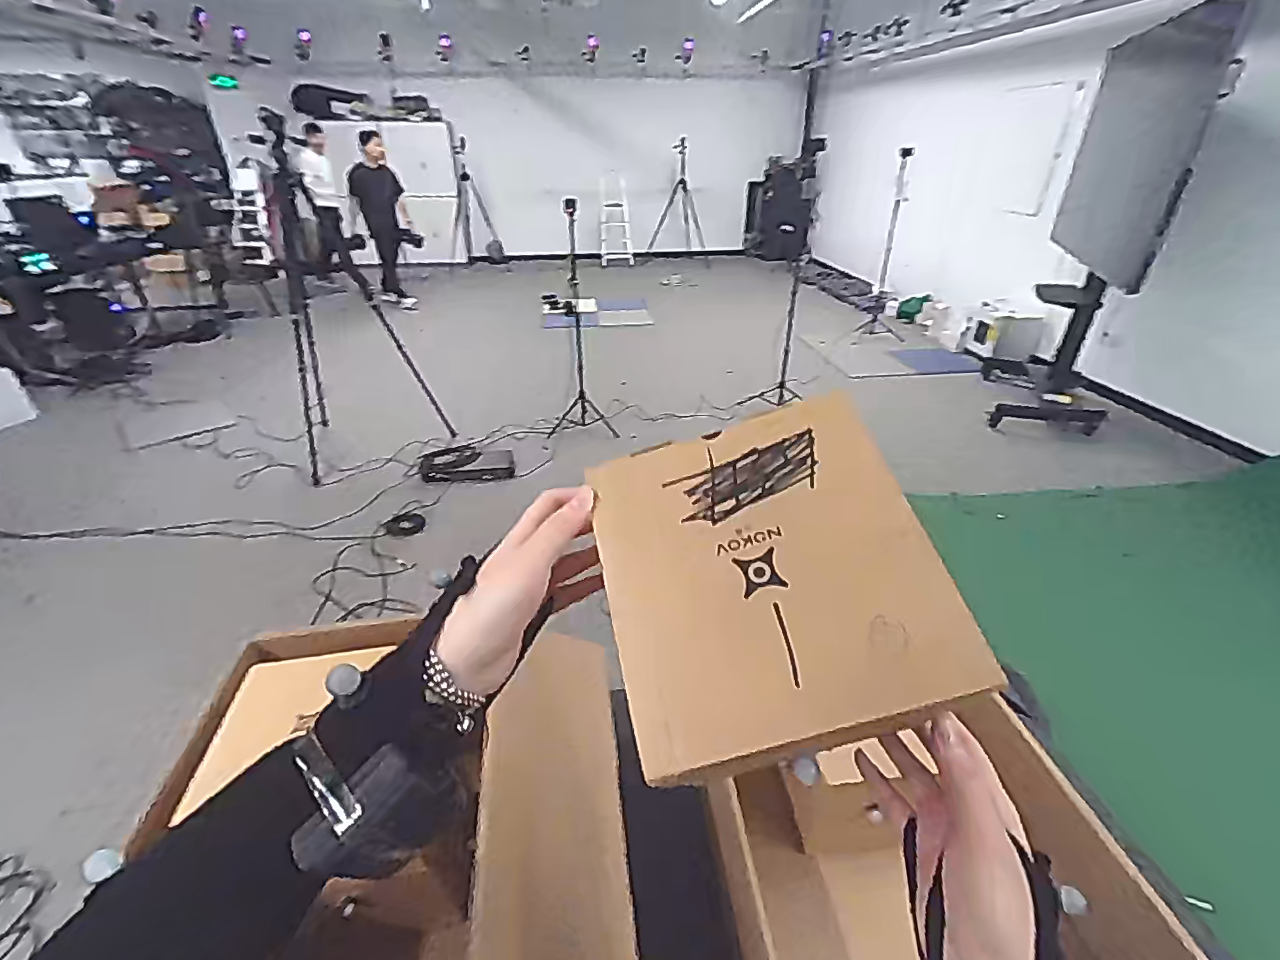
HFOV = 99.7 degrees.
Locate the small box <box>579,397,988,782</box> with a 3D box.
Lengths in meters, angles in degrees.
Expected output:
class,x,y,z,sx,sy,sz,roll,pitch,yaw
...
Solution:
class,x,y,z,sx,sy,sz,roll,pitch,yaw
small box,0.073,0.081,0.351,0.168,0.176,0.179,-17,60,4
